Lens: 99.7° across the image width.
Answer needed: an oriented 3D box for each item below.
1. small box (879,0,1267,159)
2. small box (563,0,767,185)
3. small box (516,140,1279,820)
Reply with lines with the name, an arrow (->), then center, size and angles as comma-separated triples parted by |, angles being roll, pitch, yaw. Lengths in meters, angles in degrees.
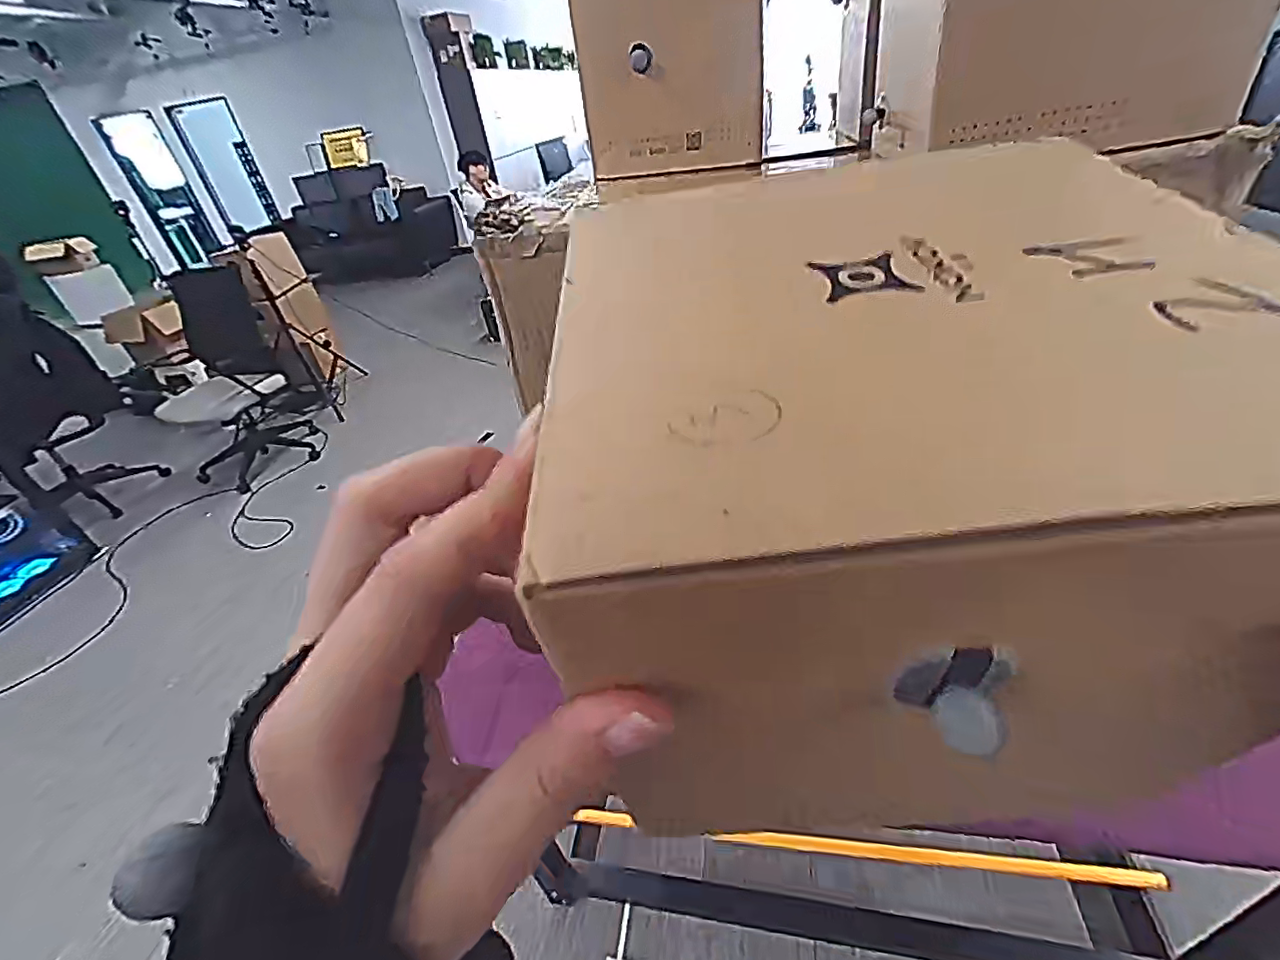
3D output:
small box -> 0.268, -0.314, 0.360 | 0.179, 0.176, 0.168 | -4, 36, 11
small box -> 0.040, -0.406, 0.545 | 0.168, 0.176, 0.179 | 1, 36, 14
small box -> 0.074, 0.006, 0.194 | 0.179, 0.176, 0.168 | -6, 45, 4
